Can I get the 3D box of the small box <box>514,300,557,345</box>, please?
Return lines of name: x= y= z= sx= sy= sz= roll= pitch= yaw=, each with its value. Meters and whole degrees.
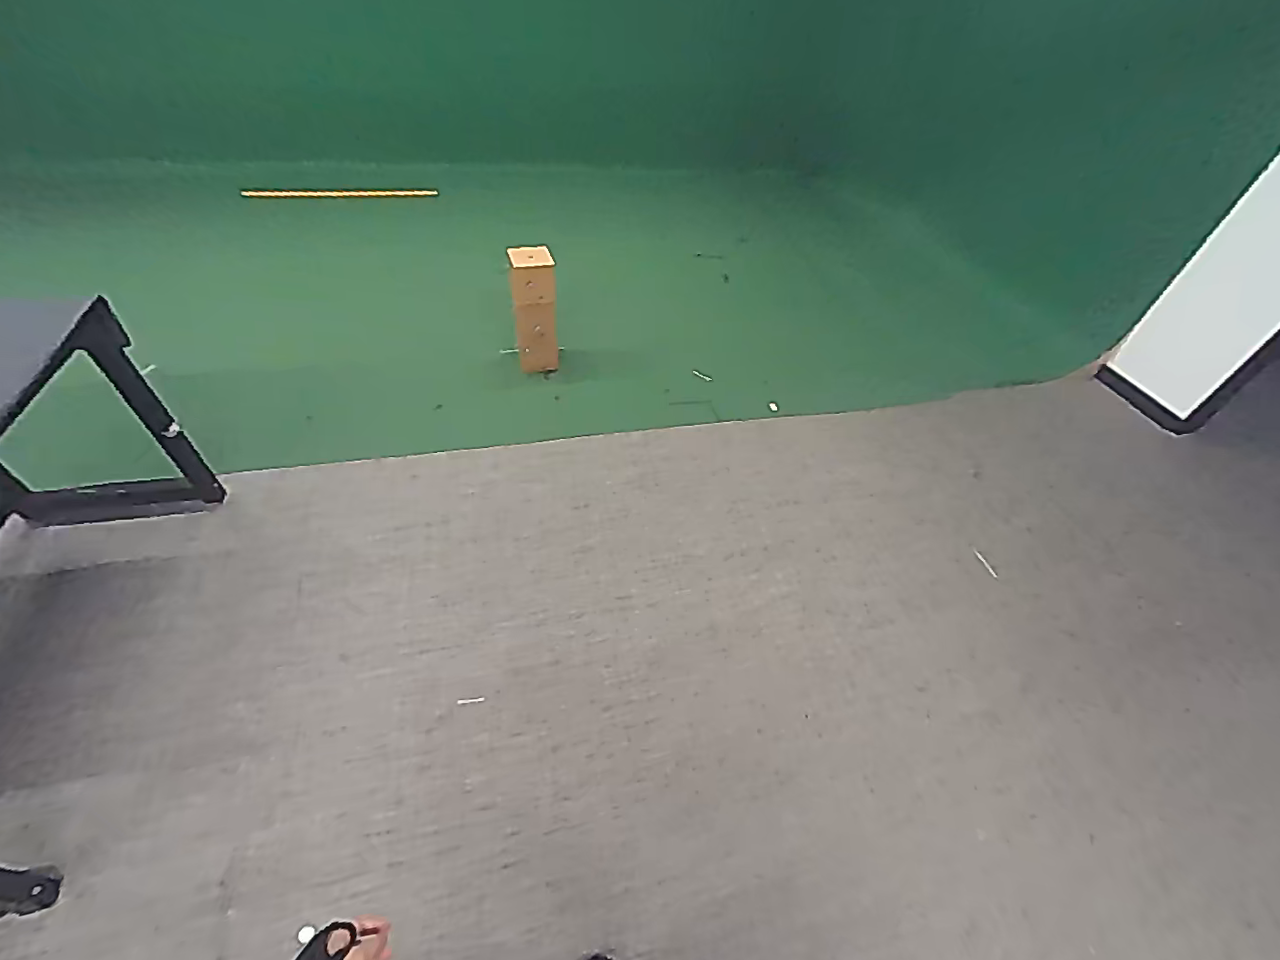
small box: x=-0.464 y=-0.717 z=2.395 sx=0.168 sy=0.176 sz=0.179 roll=-9 pitch=47 yaw=-14

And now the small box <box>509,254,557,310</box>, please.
small box: x=-0.450 y=-0.828 z=2.277 sx=0.168 sy=0.176 sz=0.179 roll=-11 pitch=47 yaw=-16
